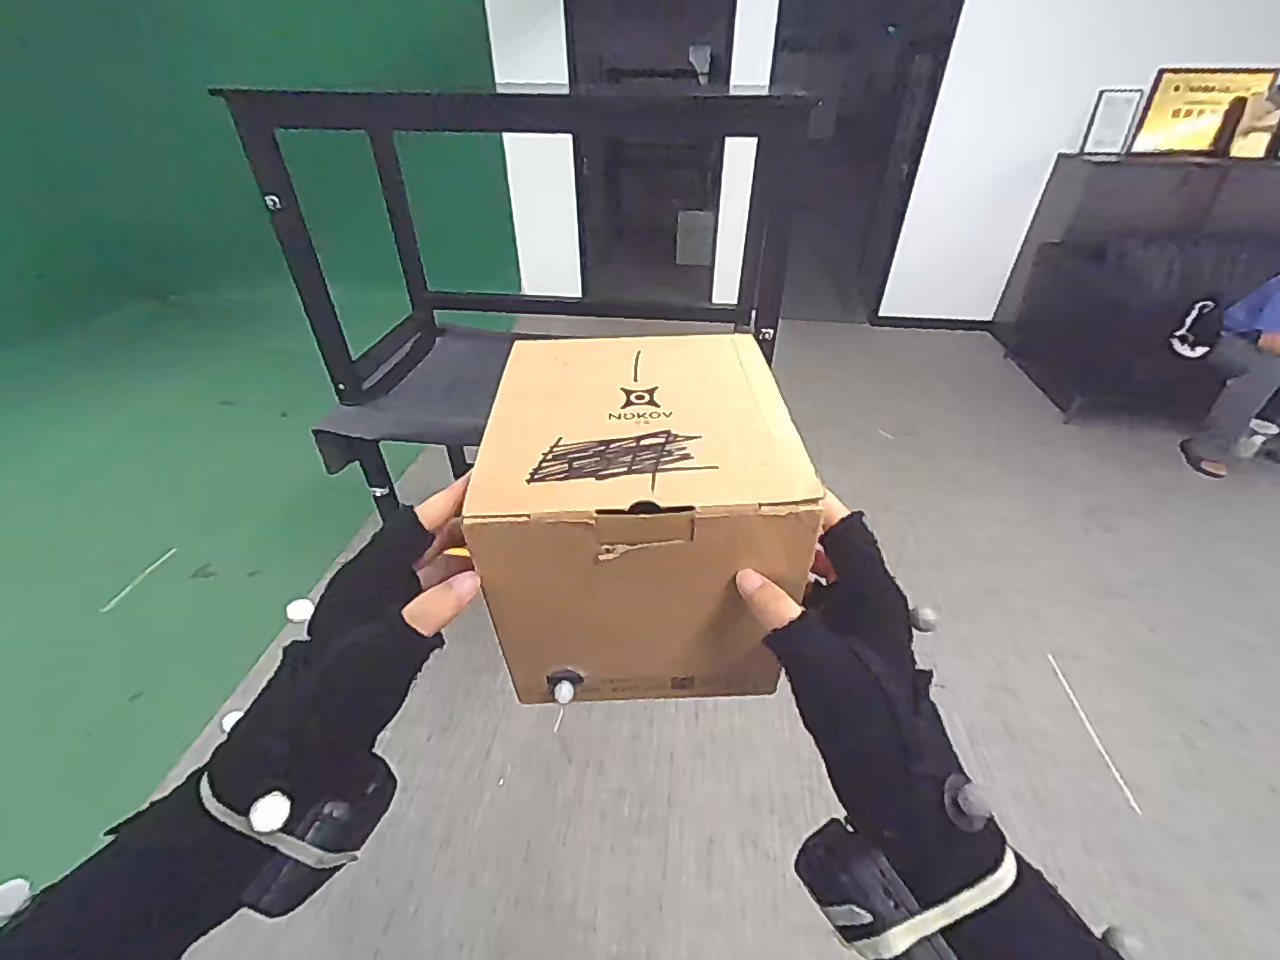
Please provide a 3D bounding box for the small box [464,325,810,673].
[{"bbox_3d":[0.000,0.013,0.362,0.168,0.176,0.179,-2,39,-1],"label":"small box"}]
